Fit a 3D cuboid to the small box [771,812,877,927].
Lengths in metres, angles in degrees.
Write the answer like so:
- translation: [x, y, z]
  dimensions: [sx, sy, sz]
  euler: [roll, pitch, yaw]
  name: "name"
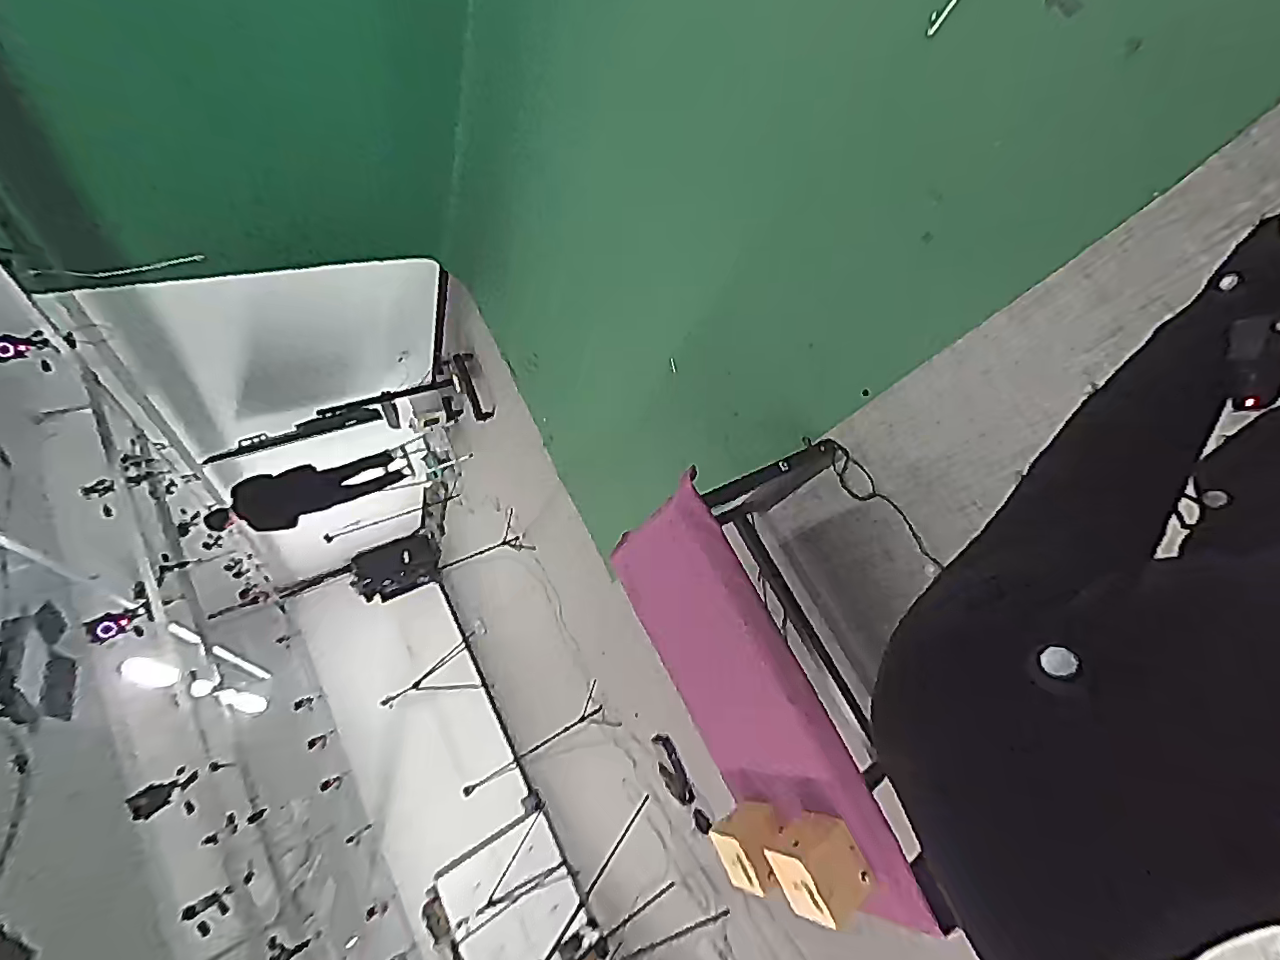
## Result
- translation: [0.483, 0.998, 1.404]
  dimensions: [0.168, 0.176, 0.179]
  euler: [62, 150, 13]
  name: "small box"
